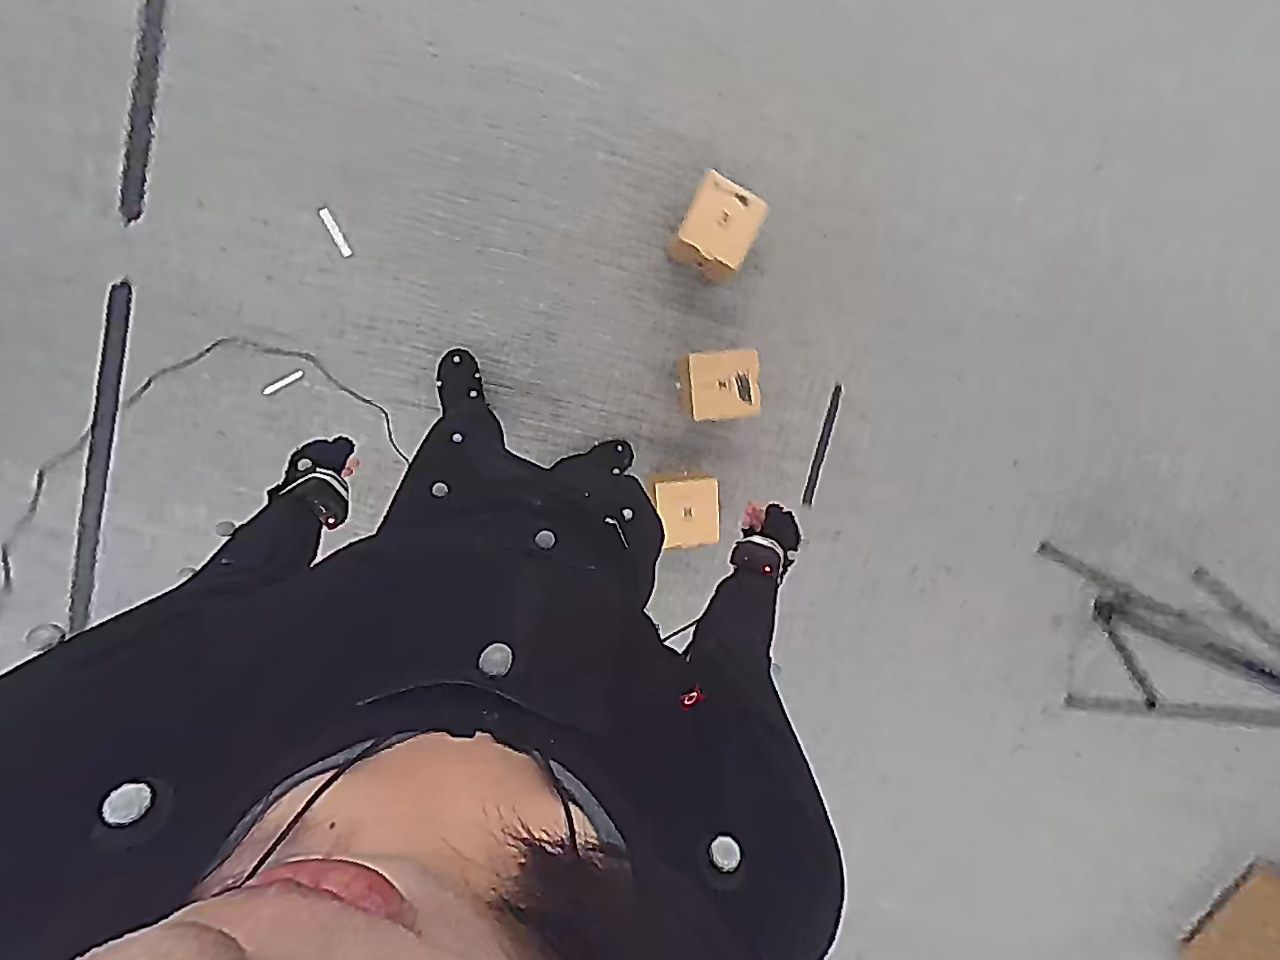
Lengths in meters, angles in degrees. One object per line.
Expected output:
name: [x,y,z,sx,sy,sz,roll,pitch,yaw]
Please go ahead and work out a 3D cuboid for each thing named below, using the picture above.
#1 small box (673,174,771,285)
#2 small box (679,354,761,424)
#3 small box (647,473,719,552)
small box: [0.195,-0.617,1.359,0.168,0.176,0.179,26,96,-10]
small box: [0.207,-0.241,1.422,0.179,0.176,0.168,-6,100,-5]
small box: [0.114,0.083,1.469,0.168,0.176,0.179,-5,99,-7]
